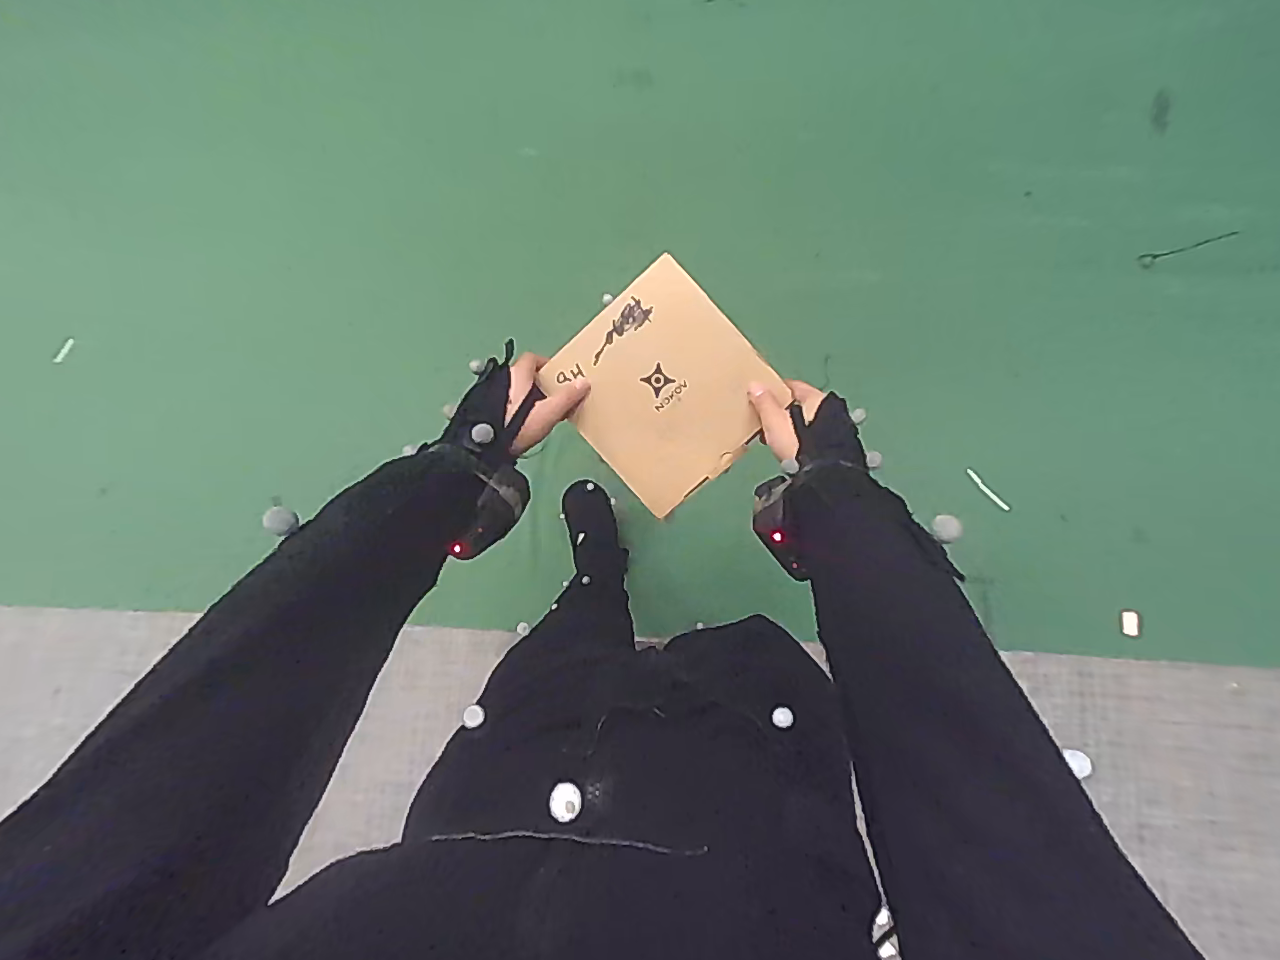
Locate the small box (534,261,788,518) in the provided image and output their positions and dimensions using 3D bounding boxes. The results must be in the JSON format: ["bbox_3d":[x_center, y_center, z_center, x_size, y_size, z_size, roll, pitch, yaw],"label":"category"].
[{"bbox_3d":[0.021,-0.086,0.568,0.168,0.176,0.179,-42,92,3],"label":"small box"}]
